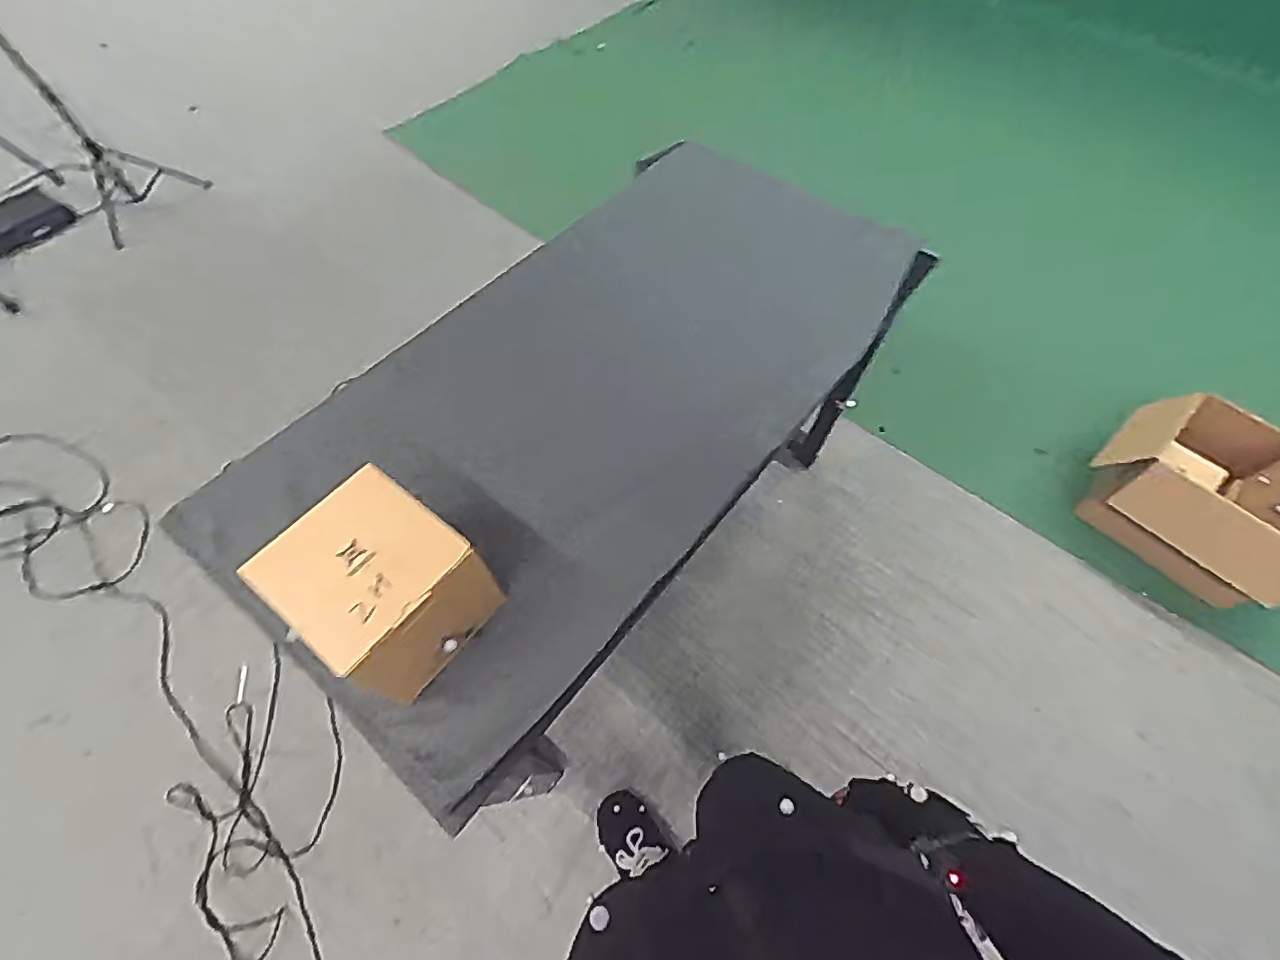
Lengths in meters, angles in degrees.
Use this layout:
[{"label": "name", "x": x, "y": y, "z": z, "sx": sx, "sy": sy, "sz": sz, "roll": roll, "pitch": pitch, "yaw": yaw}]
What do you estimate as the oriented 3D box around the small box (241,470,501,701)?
[{"label": "small box", "x": -0.290, "y": 0.127, "z": 0.621, "sx": 0.179, "sy": 0.176, "sz": 0.168, "roll": 33, "pitch": 65, "yaw": 18}]
